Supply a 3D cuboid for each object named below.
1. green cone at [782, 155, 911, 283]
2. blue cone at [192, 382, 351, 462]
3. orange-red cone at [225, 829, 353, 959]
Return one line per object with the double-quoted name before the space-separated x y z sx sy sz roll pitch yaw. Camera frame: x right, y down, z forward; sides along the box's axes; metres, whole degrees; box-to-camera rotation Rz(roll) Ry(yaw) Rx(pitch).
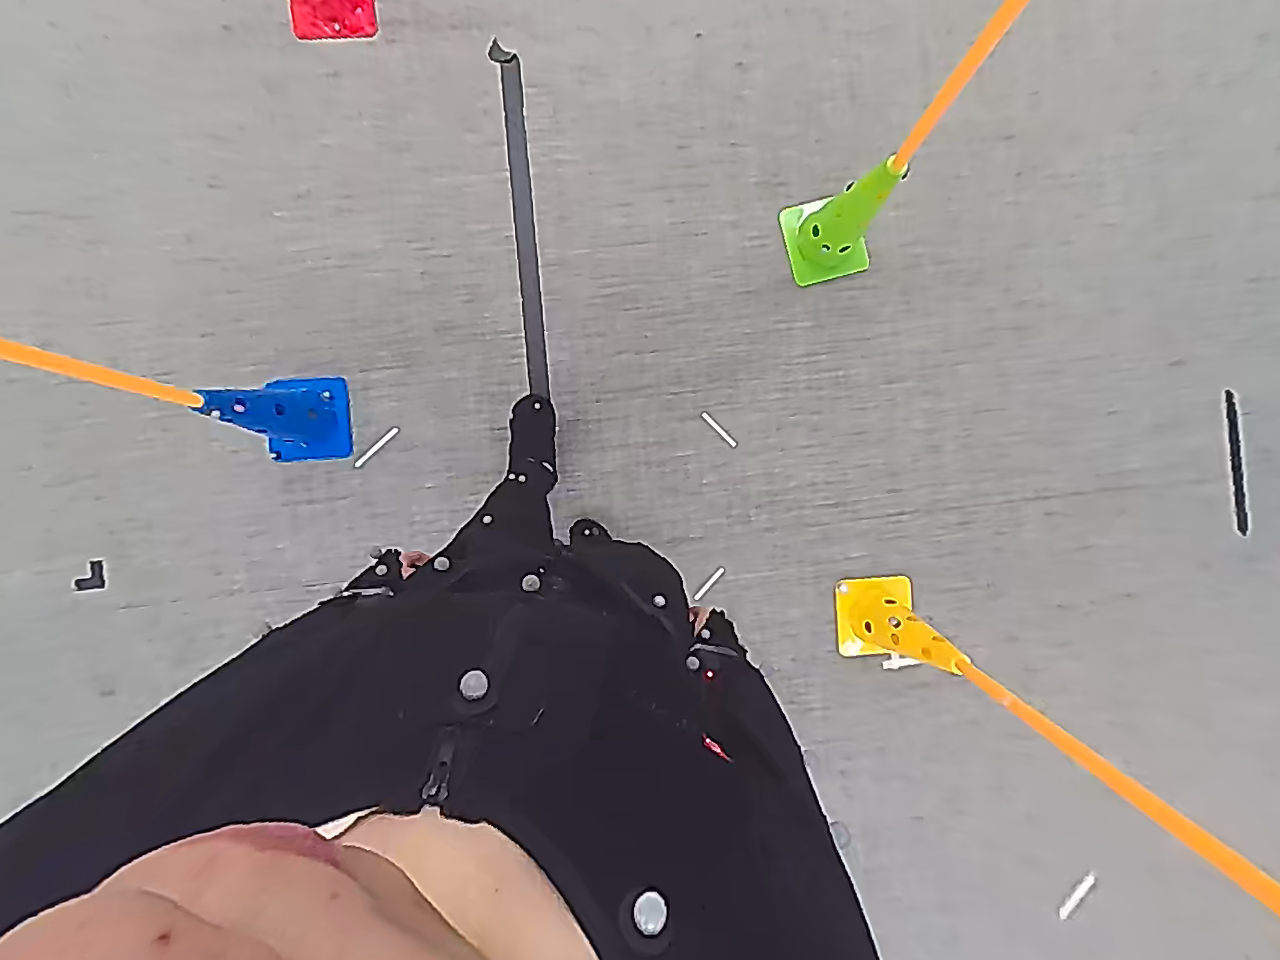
"green cone" 0.479 -0.607 1.198 0.200 0.368 0.202 -16 94 -2
"blue cone" -0.802 -0.137 1.159 0.193 0.380 0.192 -3 92 -2
"orange-red cone" -0.812 0.973 1.165 0.199 0.360 0.198 -11 92 -4
